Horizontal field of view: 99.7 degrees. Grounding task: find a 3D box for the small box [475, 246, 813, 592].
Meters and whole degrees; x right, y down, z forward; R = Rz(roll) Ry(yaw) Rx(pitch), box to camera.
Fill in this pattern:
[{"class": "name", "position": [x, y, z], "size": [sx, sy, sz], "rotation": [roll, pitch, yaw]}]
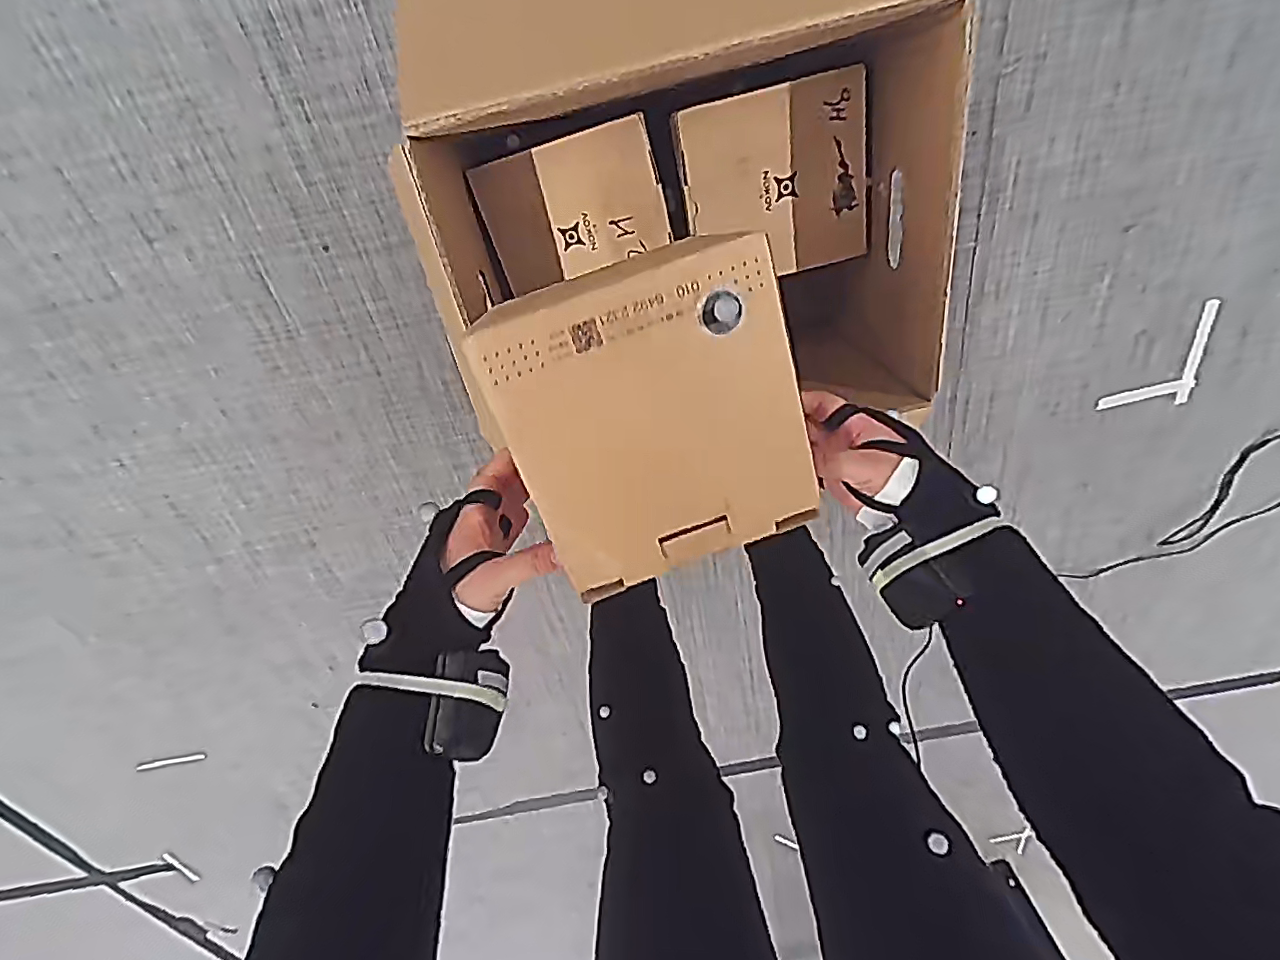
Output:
[{"class": "small box", "position": [-0.003, -0.057, 0.388], "size": [0.168, 0.179, 0.176], "rotation": [-20, 113, -1]}]
